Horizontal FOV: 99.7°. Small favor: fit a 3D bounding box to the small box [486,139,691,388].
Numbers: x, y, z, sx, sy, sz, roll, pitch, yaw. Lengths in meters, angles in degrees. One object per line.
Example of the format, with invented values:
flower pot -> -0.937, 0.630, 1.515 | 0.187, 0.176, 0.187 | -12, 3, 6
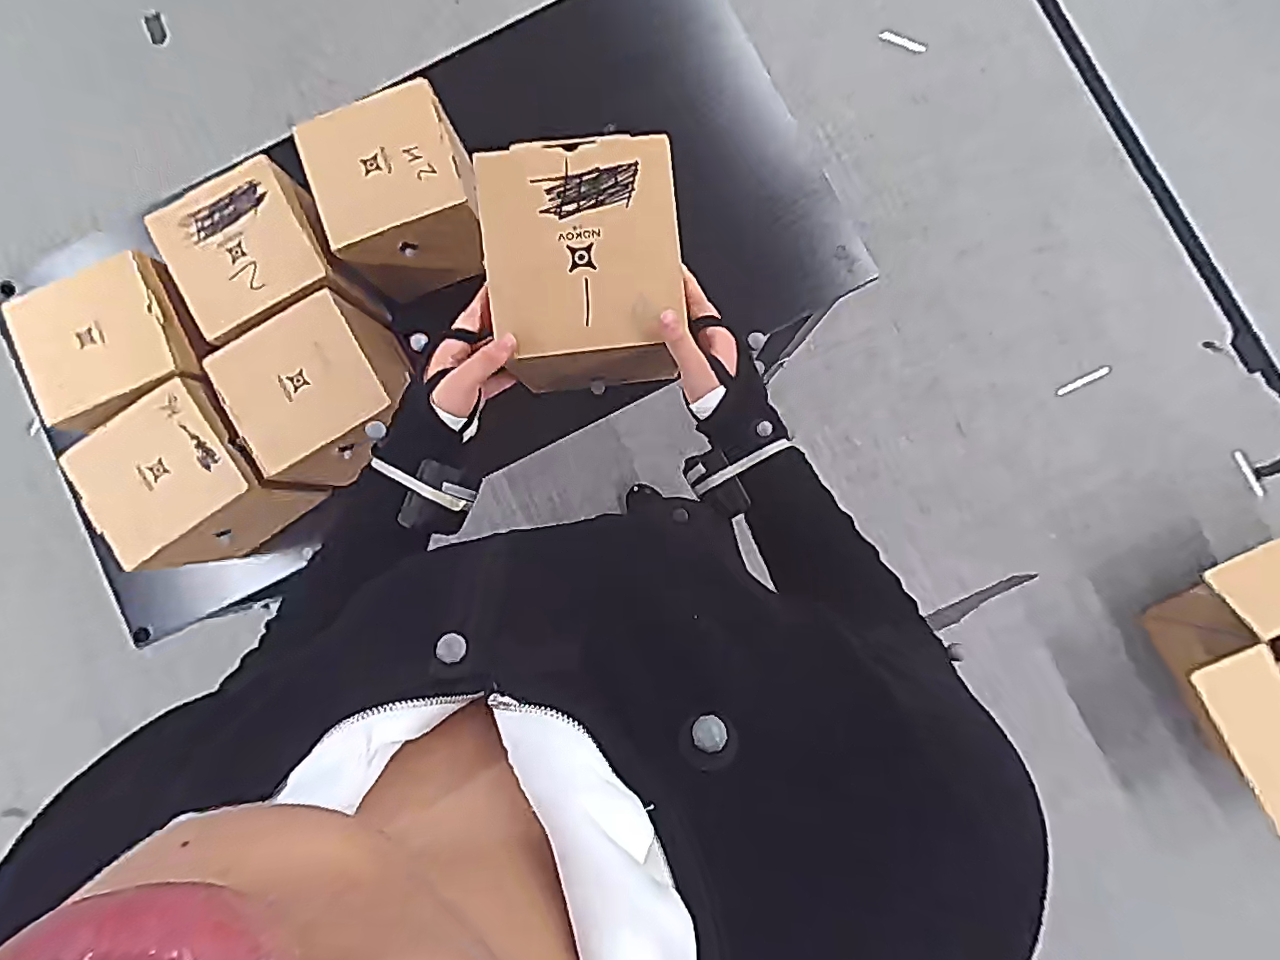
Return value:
small box -> -0.046, -0.199, 0.542 | 0.168, 0.176, 0.179 | -6, 90, 0
